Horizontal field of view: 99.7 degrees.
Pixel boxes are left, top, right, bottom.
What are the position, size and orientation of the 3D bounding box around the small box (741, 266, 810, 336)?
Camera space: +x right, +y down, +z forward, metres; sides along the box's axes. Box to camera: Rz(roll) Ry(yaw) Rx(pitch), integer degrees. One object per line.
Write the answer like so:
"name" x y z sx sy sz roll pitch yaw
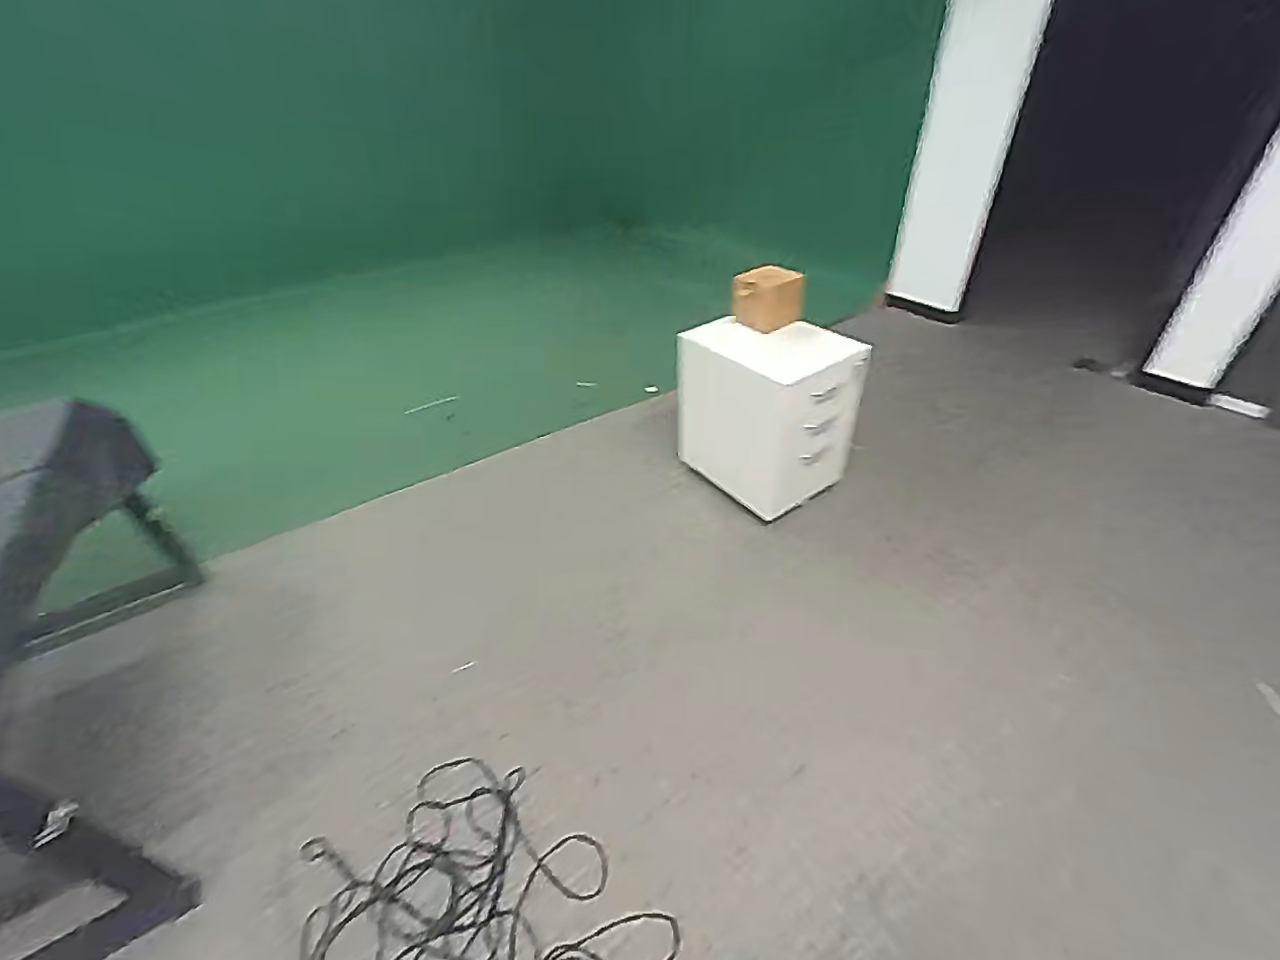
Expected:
"small box" 0.475 -0.639 1.928 0.179 0.176 0.168 -28 45 -25
